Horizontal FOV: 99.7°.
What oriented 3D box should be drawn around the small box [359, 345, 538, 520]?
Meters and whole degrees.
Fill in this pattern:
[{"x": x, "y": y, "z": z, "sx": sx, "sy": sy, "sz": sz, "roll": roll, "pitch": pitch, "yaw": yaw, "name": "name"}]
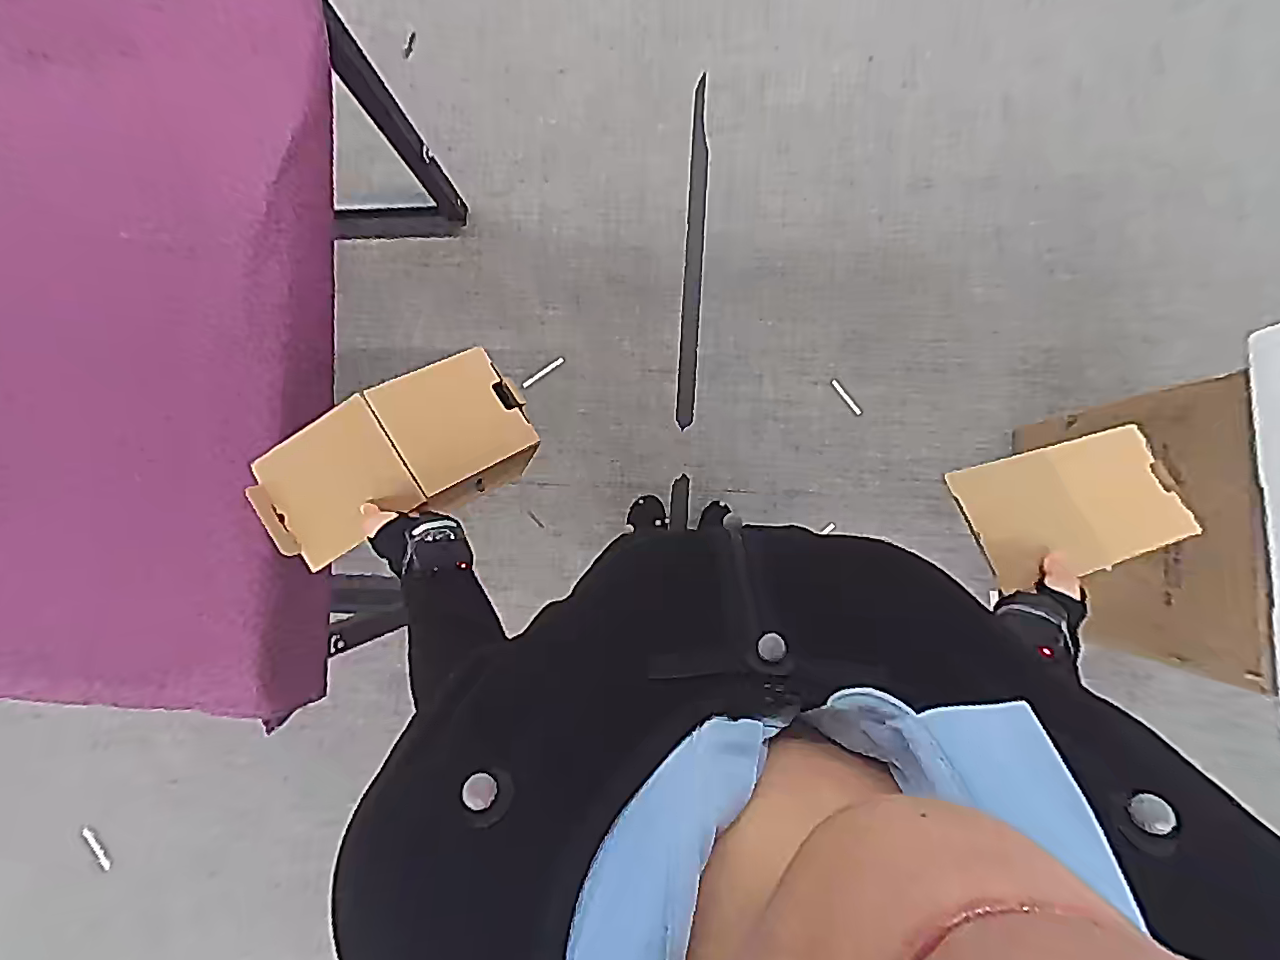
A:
[{"x": -0.275, "y": -0.061, "z": 0.785, "sx": 0.179, "sy": 0.176, "sz": 0.168, "roll": -31, "pitch": 87, "yaw": -28, "name": "small box"}]
